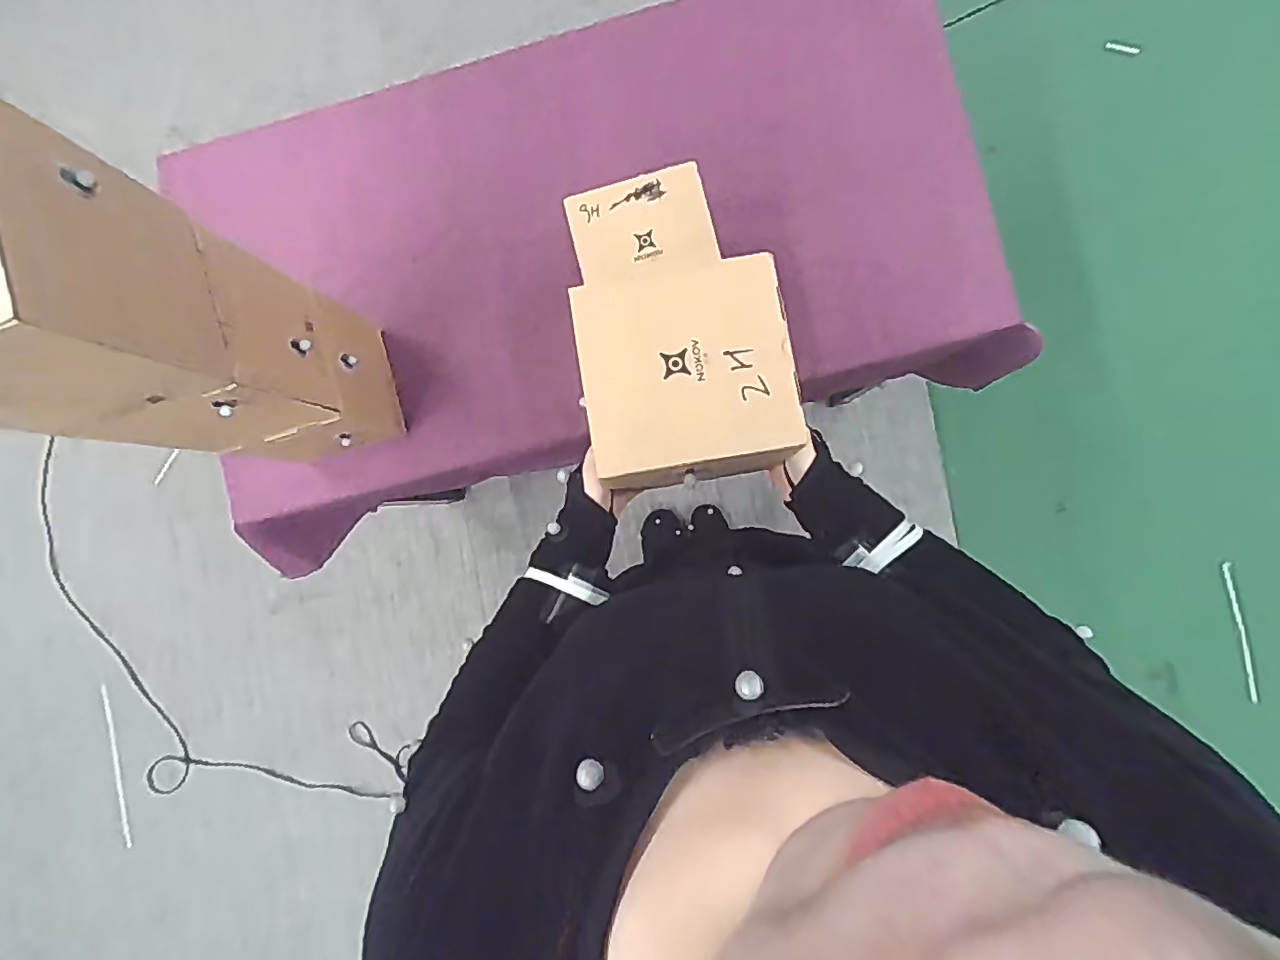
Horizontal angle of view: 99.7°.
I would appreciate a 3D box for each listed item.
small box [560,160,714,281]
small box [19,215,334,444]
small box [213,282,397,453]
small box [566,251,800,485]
[{"bbox_3d":[0.007,-0.276,0.719,0.168,0.176,0.179,-14,88,3],"label":"small box"},{"bbox_3d":[-0.477,-0.143,0.583,0.179,0.176,0.168,-17,88,1],"label":"small box"},{"bbox_3d":[-0.463,-0.139,0.744,0.168,0.176,0.179,-15,87,2],"label":"small box"},{"bbox_3d":[0.038,-0.091,0.524,0.179,0.176,0.168,-9,85,1],"label":"small box"}]
